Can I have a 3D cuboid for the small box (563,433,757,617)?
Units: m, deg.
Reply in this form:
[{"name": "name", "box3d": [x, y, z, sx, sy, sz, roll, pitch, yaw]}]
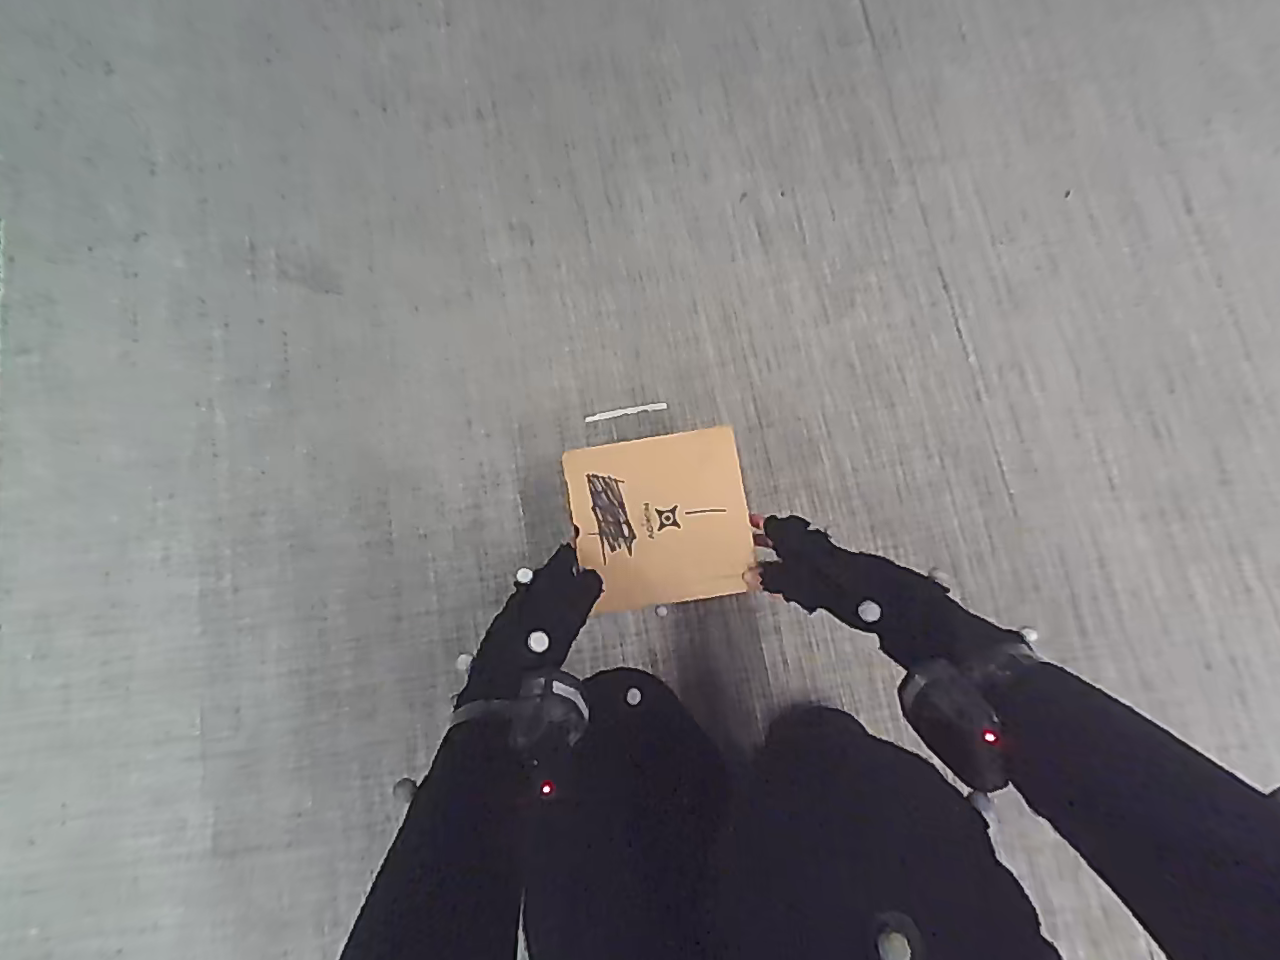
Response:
[{"name": "small box", "box3d": [0.023, 0.058, 0.608, 0.179, 0.176, 0.168, -9, 79, 2]}]
